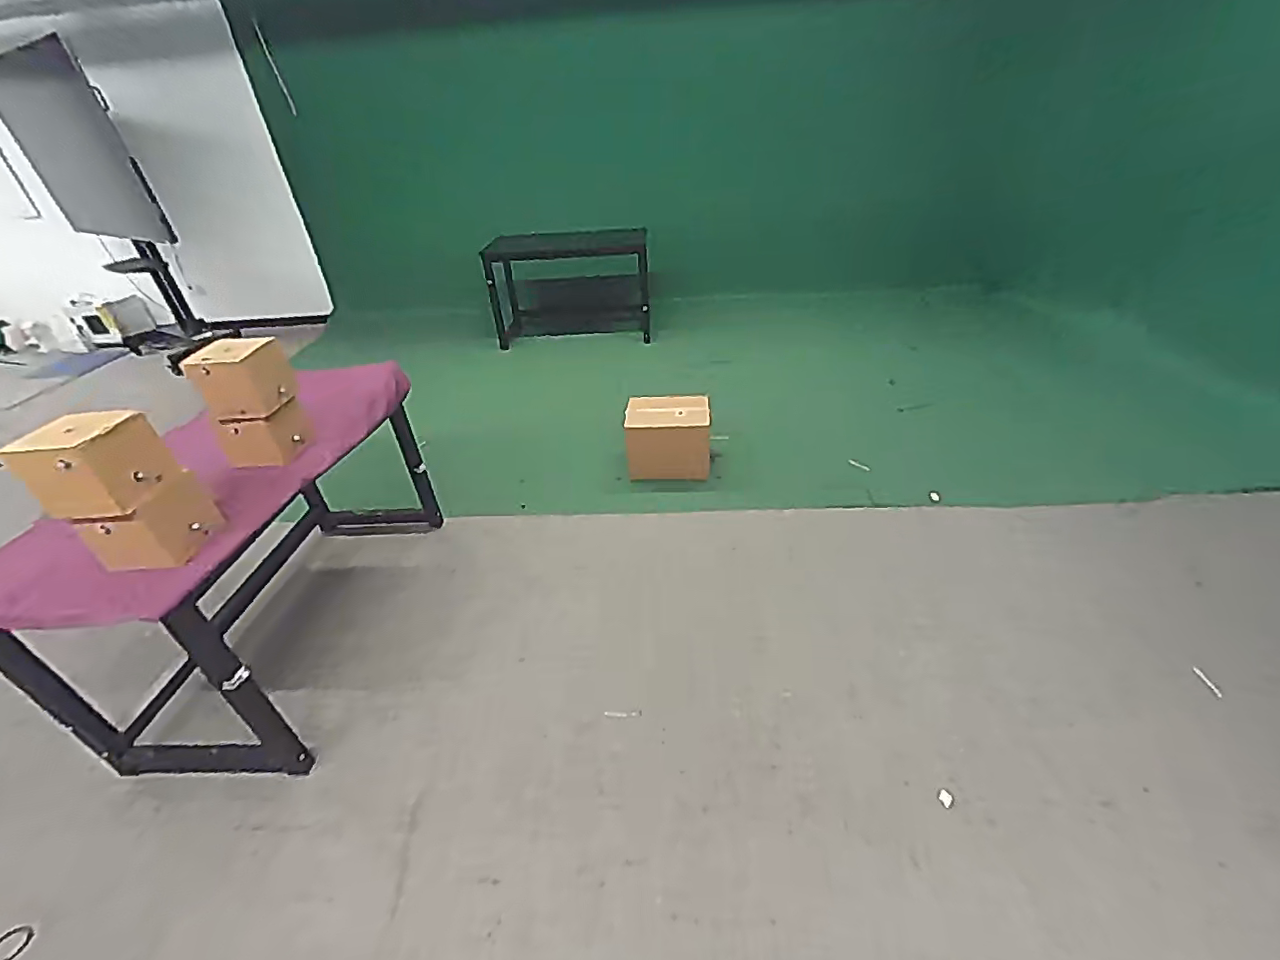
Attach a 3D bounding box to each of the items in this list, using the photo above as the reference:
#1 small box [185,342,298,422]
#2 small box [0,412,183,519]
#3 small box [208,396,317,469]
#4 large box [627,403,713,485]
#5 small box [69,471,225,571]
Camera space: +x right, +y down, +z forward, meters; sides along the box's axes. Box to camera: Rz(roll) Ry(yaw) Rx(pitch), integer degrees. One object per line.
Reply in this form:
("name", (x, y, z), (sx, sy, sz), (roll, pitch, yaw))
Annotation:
("small box", (-1.099, -0.275, 1.514), (0.168, 0.176, 0.179), (-2, 34, 3))
("small box", (-1.149, -0.029, 1.150), (0.179, 0.176, 0.168), (-3, 34, 4))
("small box", (-1.115, -0.144, 1.614), (0.179, 0.176, 0.168), (-1, 34, 5))
("large box", (0.152, -0.181, 2.705), (0.408, 0.320, 0.320), (0, 34, 6))
("small box", (-1.129, 0.097, 1.252), (0.179, 0.176, 0.168), (-3, 34, 4))
